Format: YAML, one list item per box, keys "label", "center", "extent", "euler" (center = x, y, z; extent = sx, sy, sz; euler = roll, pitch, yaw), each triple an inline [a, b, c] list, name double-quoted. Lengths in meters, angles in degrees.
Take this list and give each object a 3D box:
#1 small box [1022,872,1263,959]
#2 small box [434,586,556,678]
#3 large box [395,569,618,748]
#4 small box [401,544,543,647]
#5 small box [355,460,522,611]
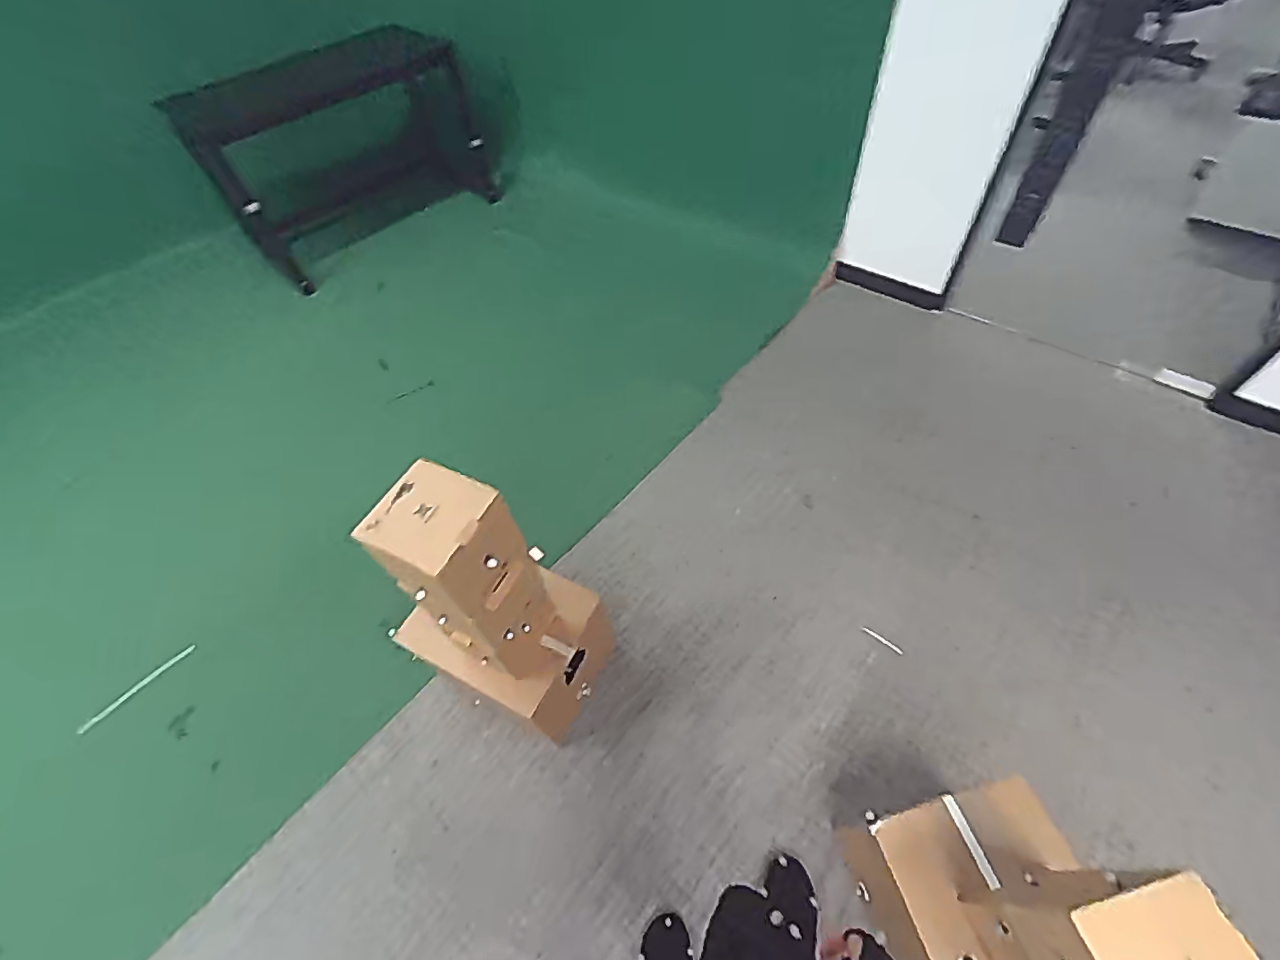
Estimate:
- label: "small box"
  center: [0.609, 0.598, 0.652]
  extent: [0.179, 0.176, 0.168]
  euler: [-13, 53, -6]
- label: "small box"
  center: [-0.303, 0.300, 1.173]
  extent: [0.168, 0.176, 0.179]
  euler: [21, 58, 19]
- label: "large box"
  center: [-0.314, 0.423, 1.388]
  extent: [0.408, 0.320, 0.320]
  euler: [19, 56, 21]
- label: "small box"
  center: [-0.311, 0.201, 1.043]
  extent: [0.179, 0.176, 0.168]
  euler: [20, 58, 19]
- label: "small box"
  center: [-0.325, 0.100, 0.914]
  extent: [0.179, 0.176, 0.168]
  euler: [21, 58, 19]
